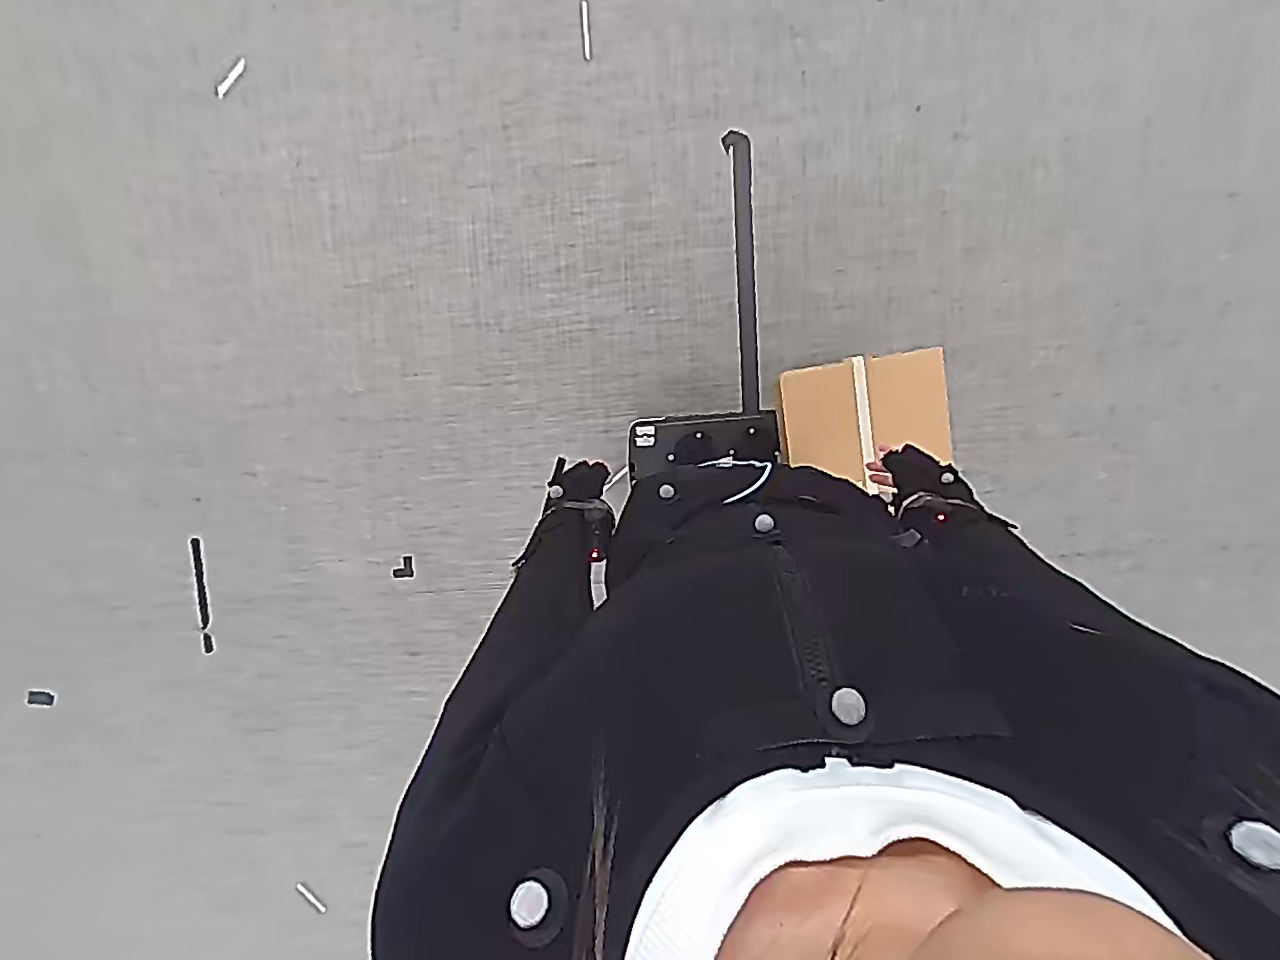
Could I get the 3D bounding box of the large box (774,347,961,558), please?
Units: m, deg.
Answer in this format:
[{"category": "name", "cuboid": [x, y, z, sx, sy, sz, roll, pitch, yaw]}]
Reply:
[{"category": "large box", "cuboid": [0.499, -0.068, 1.249, 0.320, 0.320, 0.408, -7, 97, 13]}]
